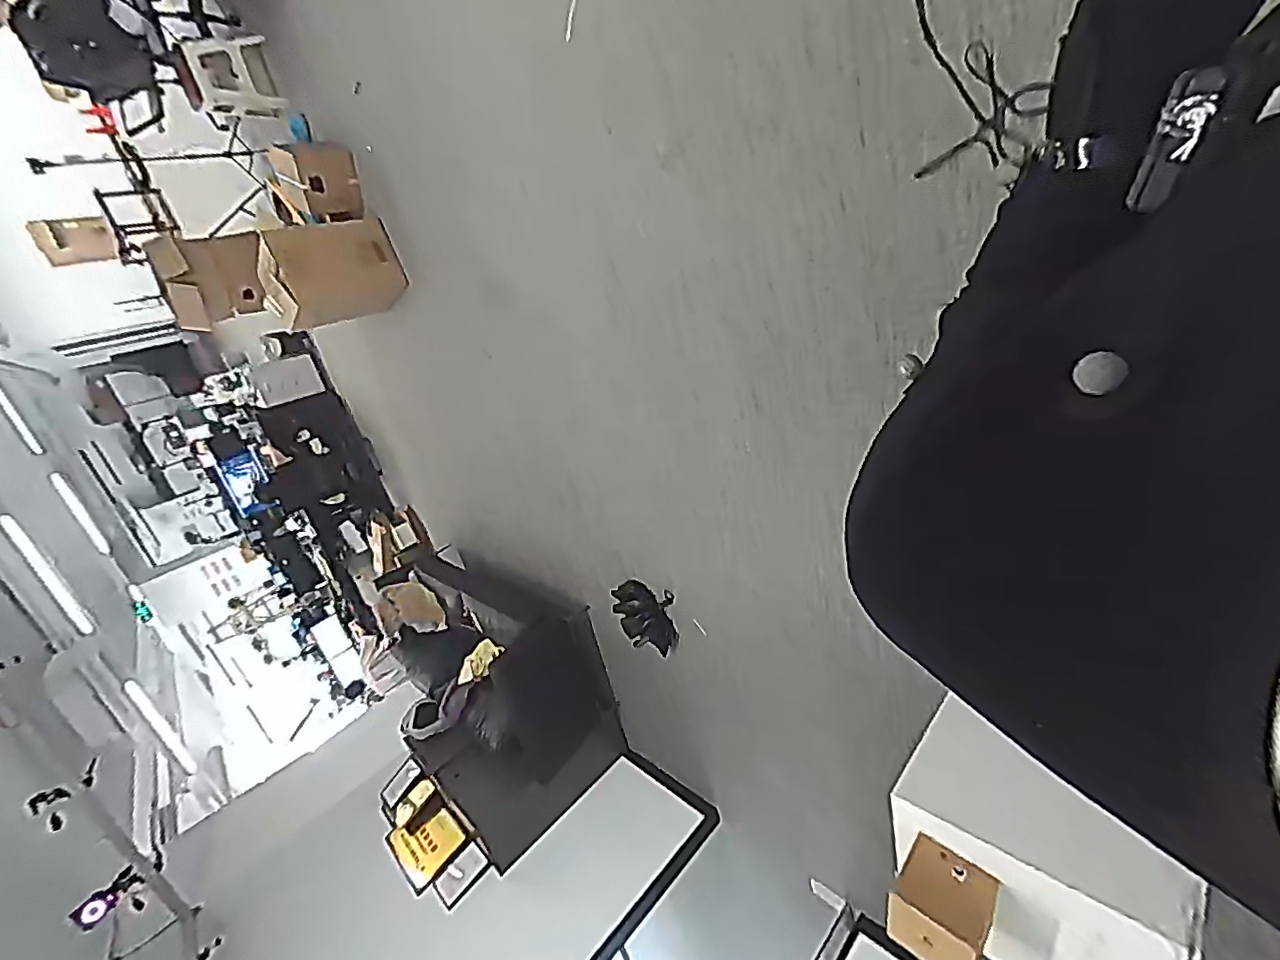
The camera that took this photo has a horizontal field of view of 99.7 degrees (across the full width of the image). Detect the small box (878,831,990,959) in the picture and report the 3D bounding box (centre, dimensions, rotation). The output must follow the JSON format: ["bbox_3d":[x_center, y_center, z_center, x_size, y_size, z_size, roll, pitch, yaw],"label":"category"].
[{"bbox_3d":[0.632,0.917,1.163,0.168,0.176,0.179,15,124,43],"label":"small box"}]
